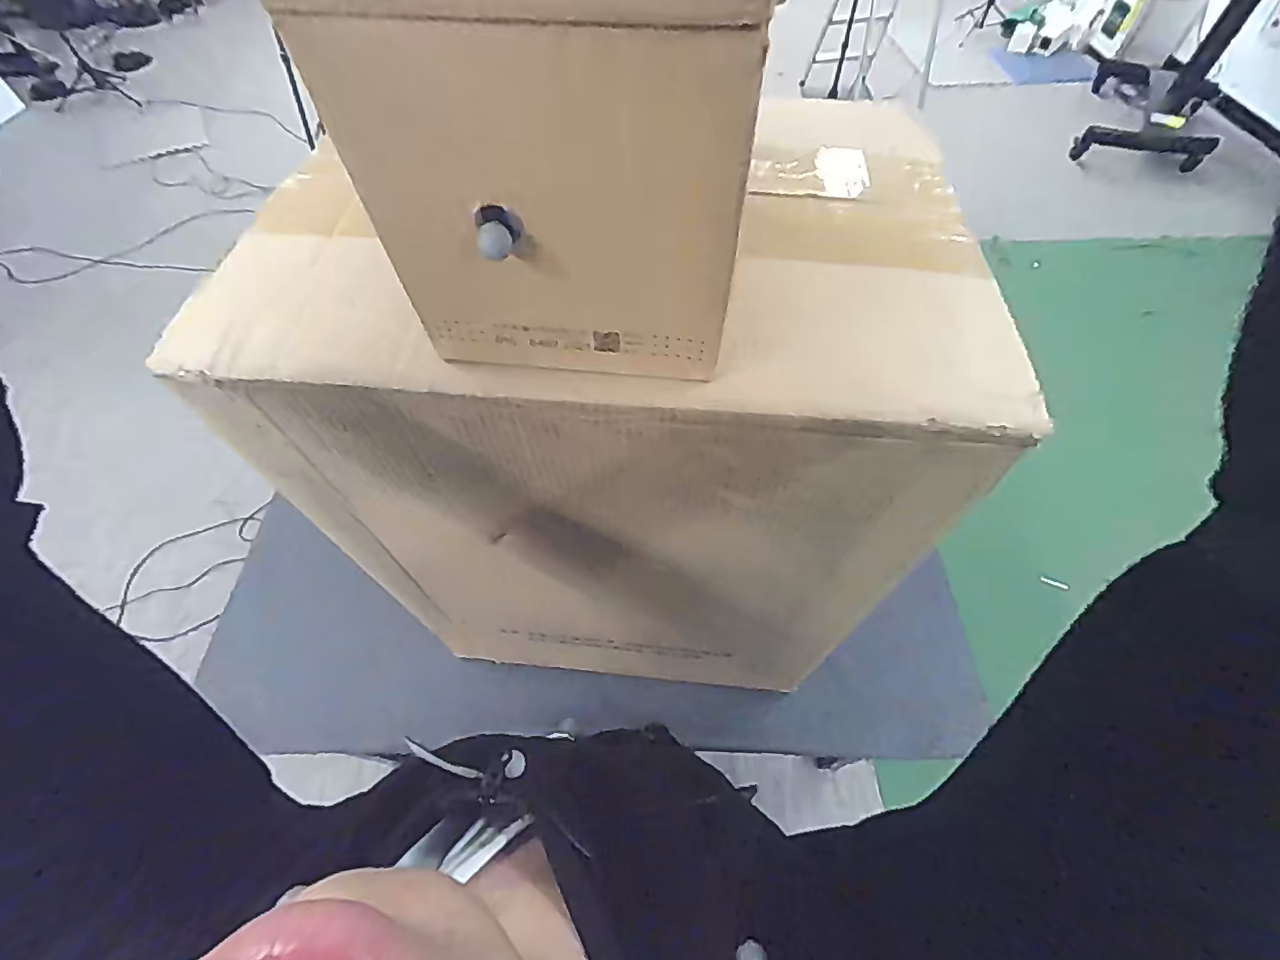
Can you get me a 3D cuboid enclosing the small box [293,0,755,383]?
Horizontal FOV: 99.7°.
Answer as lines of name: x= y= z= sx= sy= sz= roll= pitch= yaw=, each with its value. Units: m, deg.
small box: x=-0.031 y=-0.173 z=0.294 sx=0.168 sy=0.176 sz=0.179 roll=6 pitch=59 yaw=4
